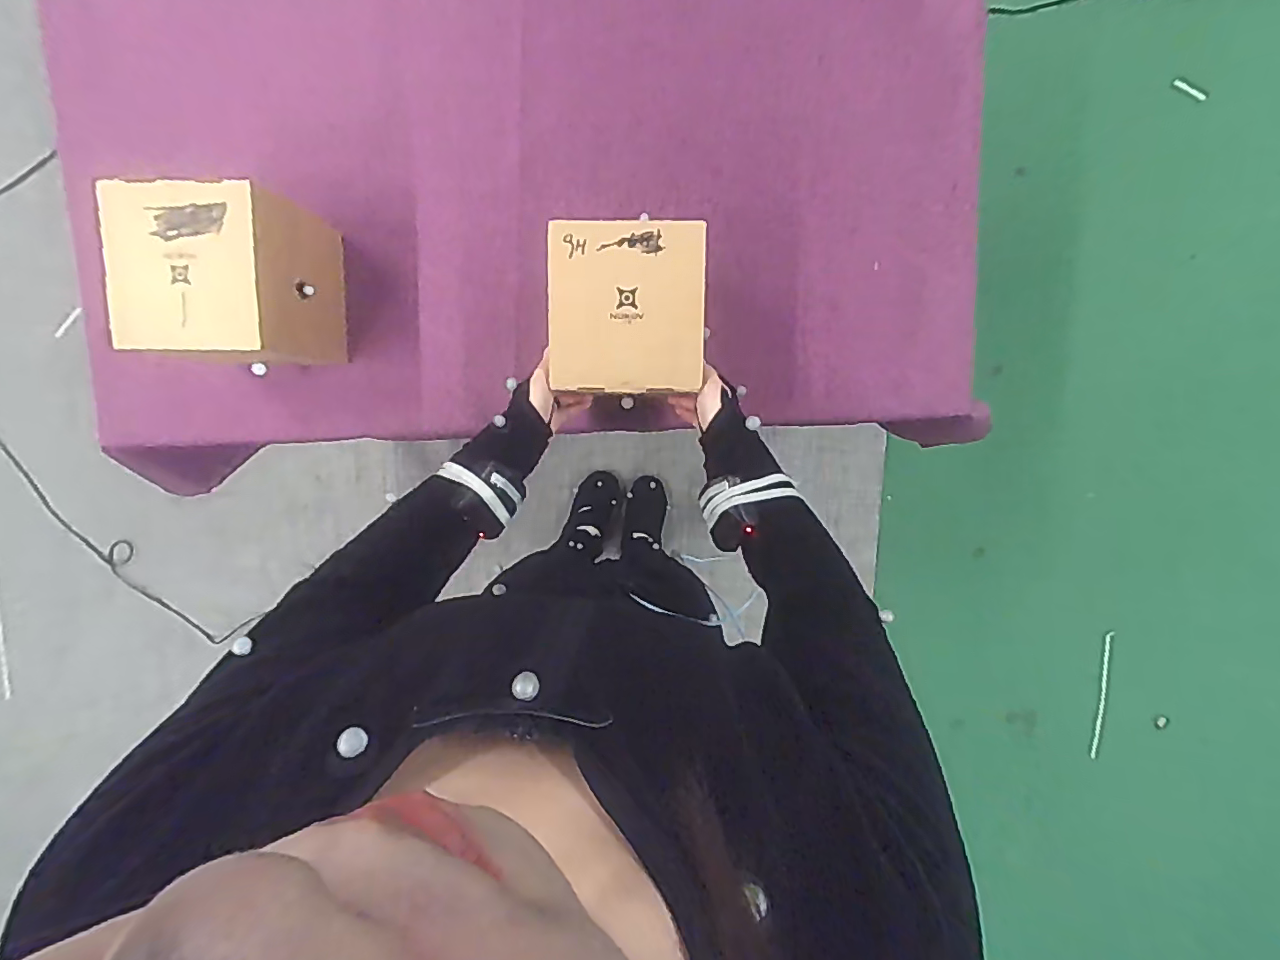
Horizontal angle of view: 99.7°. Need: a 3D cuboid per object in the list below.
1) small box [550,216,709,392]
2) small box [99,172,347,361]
[{"bbox_3d":[-0.011,-0.195,0.645,0.168,0.176,0.179,2,98,1],"label":"small box"},{"bbox_3d":[-0.478,-0.241,0.648,0.168,0.176,0.179,1,98,1],"label":"small box"}]
